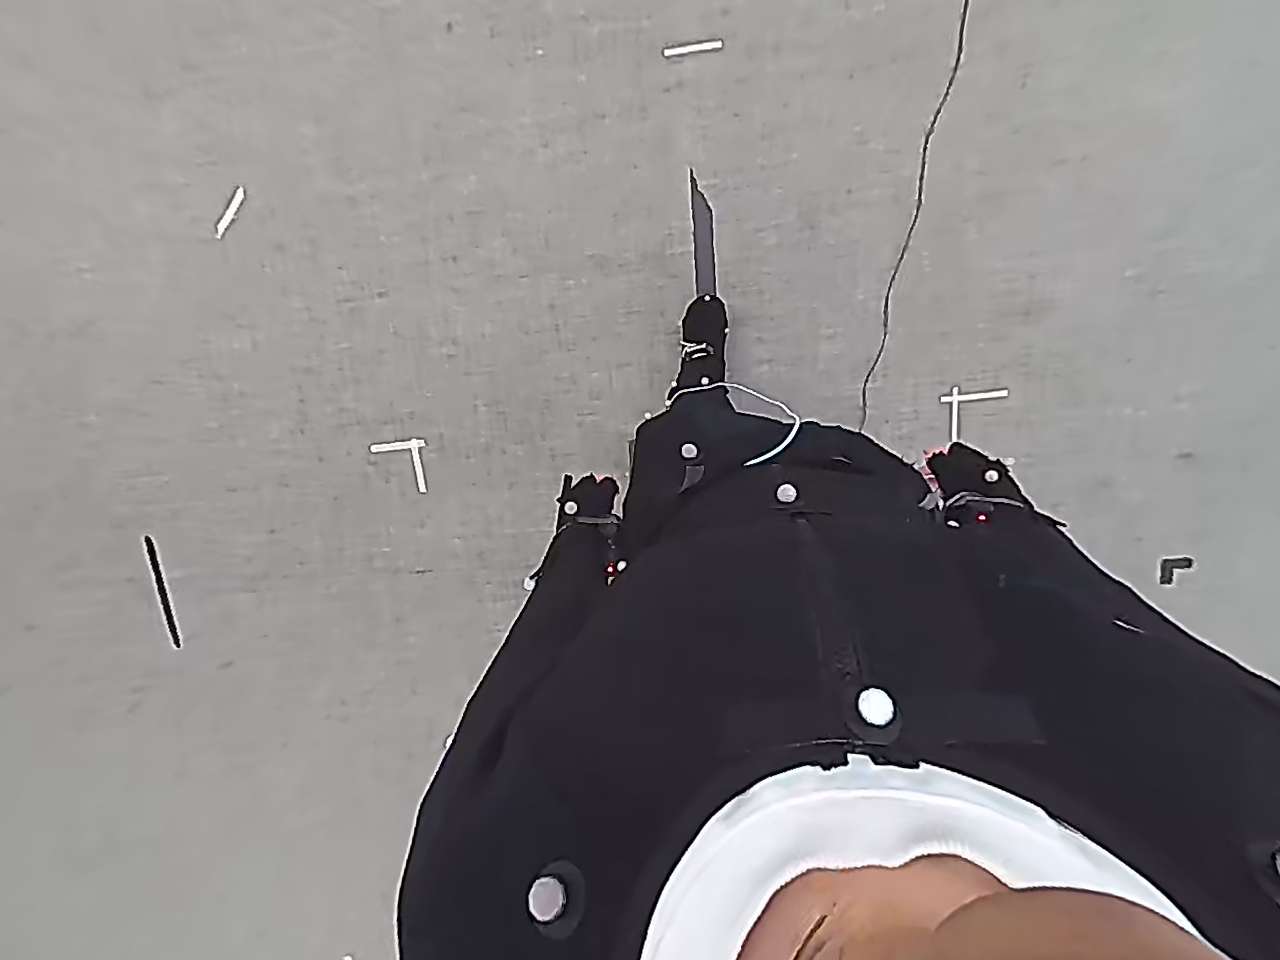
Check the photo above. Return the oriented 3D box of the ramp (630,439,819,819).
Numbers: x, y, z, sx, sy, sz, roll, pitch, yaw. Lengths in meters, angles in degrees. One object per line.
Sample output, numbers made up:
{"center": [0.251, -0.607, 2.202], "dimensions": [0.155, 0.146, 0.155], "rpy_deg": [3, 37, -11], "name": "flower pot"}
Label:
{"center": [0.219, 0.393, 1.450], "dimensions": [0.509, 0.206, 0.991], "rpy_deg": [-2, 100, 10], "name": "ramp"}
